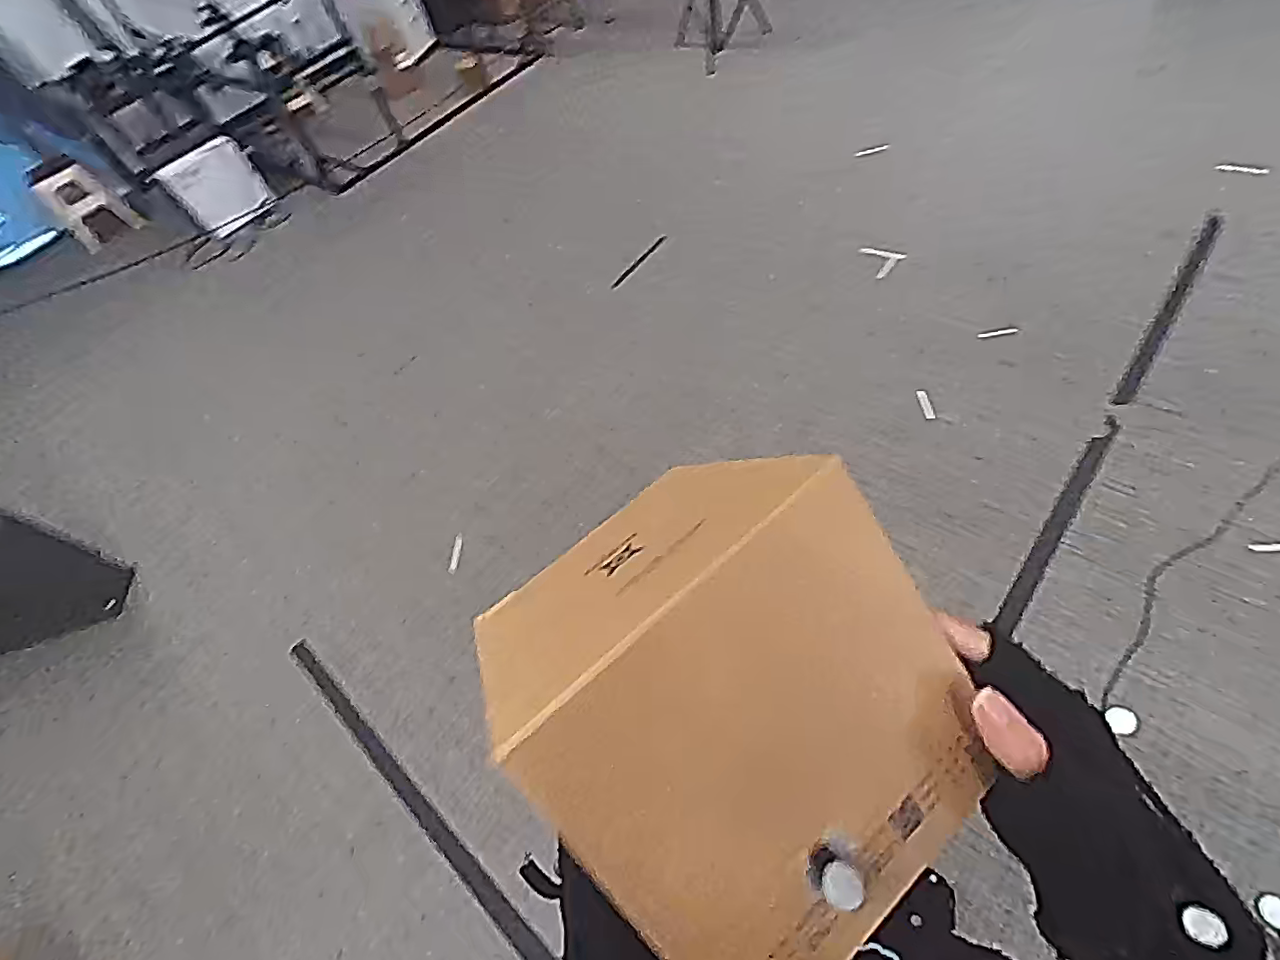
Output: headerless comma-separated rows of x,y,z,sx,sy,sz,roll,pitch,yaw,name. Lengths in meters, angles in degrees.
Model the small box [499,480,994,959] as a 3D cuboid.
0.040,0.116,0.302,0.168,0.176,0.179,-38,11,-13,small box
